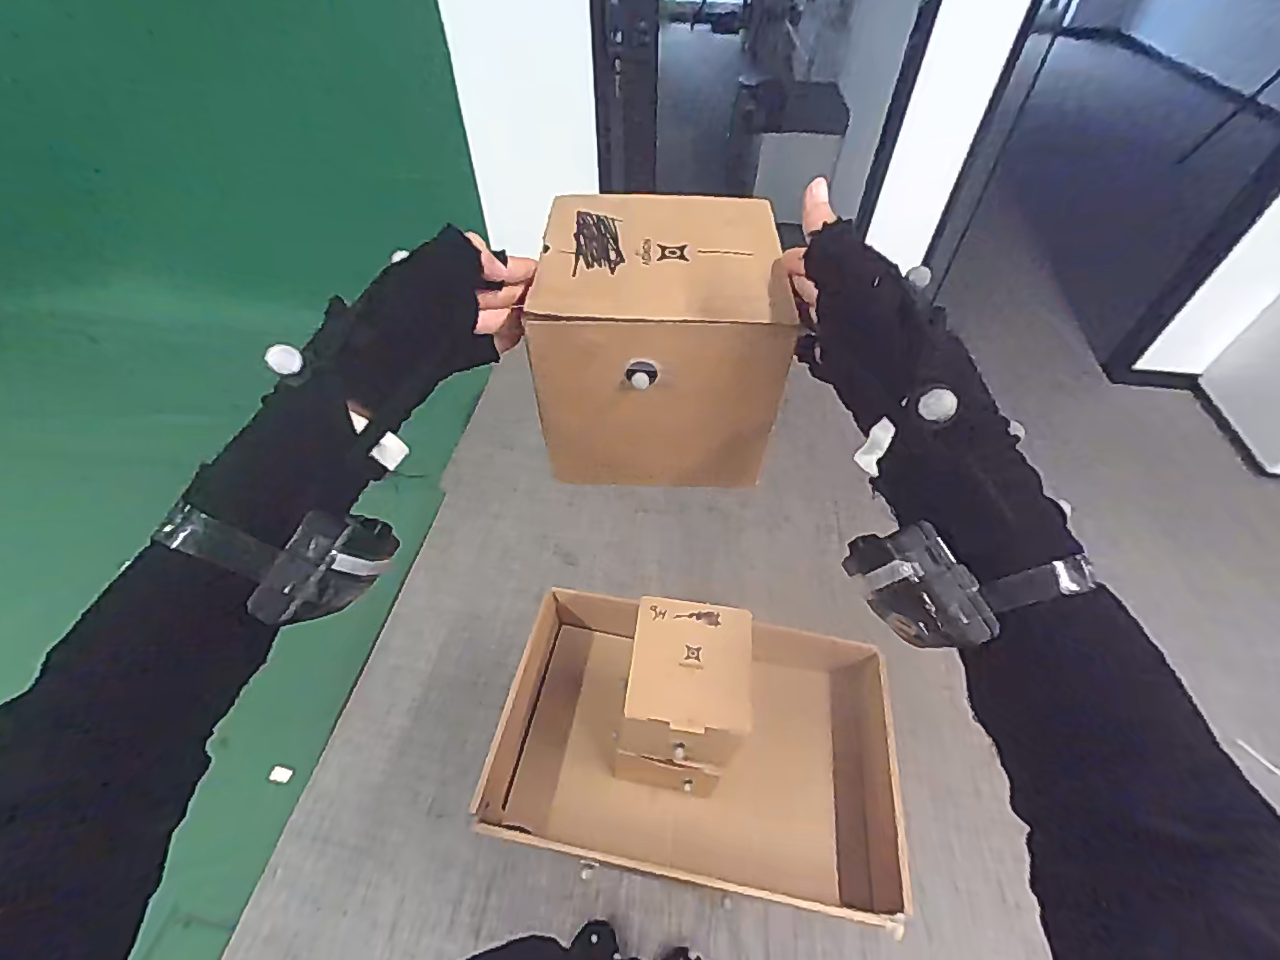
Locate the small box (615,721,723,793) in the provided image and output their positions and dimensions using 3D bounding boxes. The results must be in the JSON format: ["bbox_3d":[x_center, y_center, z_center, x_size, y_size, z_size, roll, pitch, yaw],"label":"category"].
[{"bbox_3d":[0.055,0.407,0.917,0.168,0.176,0.179,10,48,4],"label":"small box"}]

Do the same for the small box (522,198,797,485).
[{"bbox_3d":[0.015,-0.109,0.447,0.179,0.176,0.168,2,52,0],"label":"small box"}]

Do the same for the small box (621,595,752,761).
[{"bbox_3d":[0.066,0.296,0.797,0.168,0.176,0.179,8,50,3],"label":"small box"}]
